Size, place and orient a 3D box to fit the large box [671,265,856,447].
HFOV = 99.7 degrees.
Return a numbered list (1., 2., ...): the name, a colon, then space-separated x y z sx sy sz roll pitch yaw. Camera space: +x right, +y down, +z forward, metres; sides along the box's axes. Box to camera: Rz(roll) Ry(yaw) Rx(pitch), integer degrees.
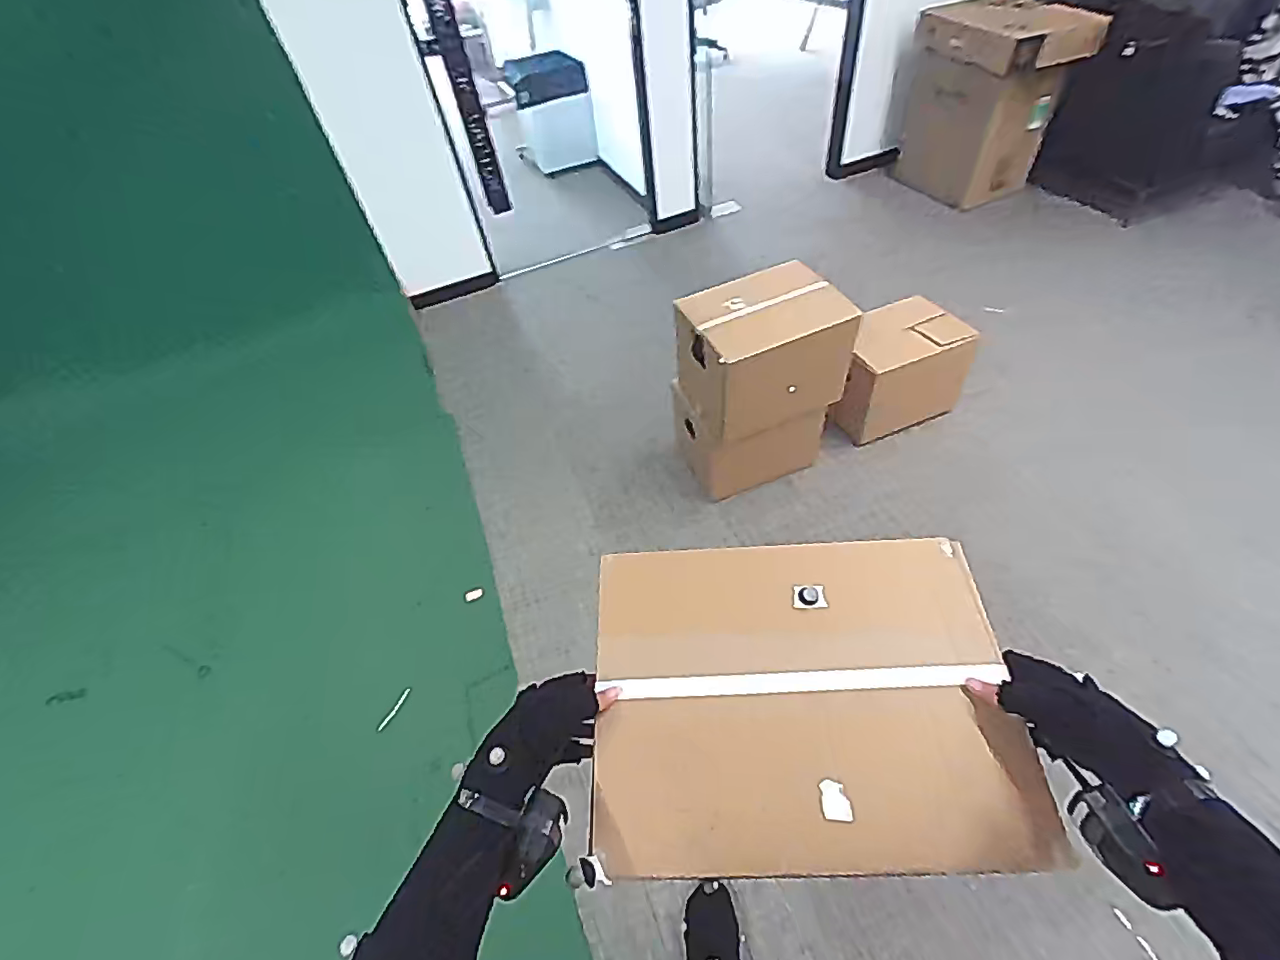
1. large box: 0.341 -0.359 1.574 0.408 0.320 0.320 -22 52 -9
